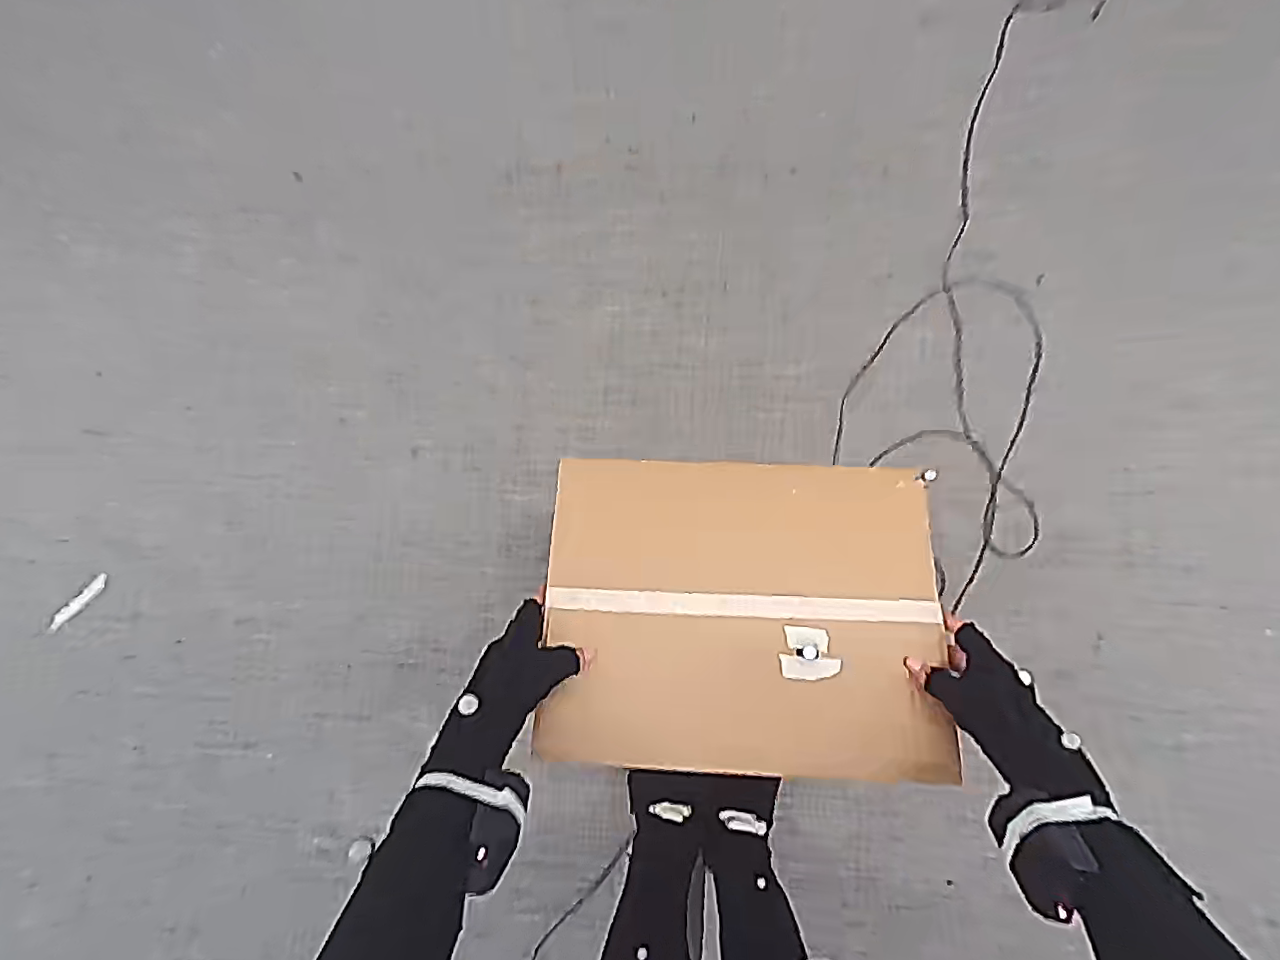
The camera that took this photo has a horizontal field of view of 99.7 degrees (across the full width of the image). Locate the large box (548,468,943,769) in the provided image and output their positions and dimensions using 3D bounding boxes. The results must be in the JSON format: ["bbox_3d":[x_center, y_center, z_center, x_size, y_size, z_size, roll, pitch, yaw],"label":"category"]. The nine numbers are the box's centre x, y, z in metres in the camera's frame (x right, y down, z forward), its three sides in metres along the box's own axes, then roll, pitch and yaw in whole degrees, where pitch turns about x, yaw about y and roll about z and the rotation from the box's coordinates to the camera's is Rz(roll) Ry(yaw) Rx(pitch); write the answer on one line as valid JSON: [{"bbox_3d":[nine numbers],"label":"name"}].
[{"bbox_3d":[0.111,0.183,0.726,0.408,0.320,0.320,2,73,3],"label":"large box"}]
